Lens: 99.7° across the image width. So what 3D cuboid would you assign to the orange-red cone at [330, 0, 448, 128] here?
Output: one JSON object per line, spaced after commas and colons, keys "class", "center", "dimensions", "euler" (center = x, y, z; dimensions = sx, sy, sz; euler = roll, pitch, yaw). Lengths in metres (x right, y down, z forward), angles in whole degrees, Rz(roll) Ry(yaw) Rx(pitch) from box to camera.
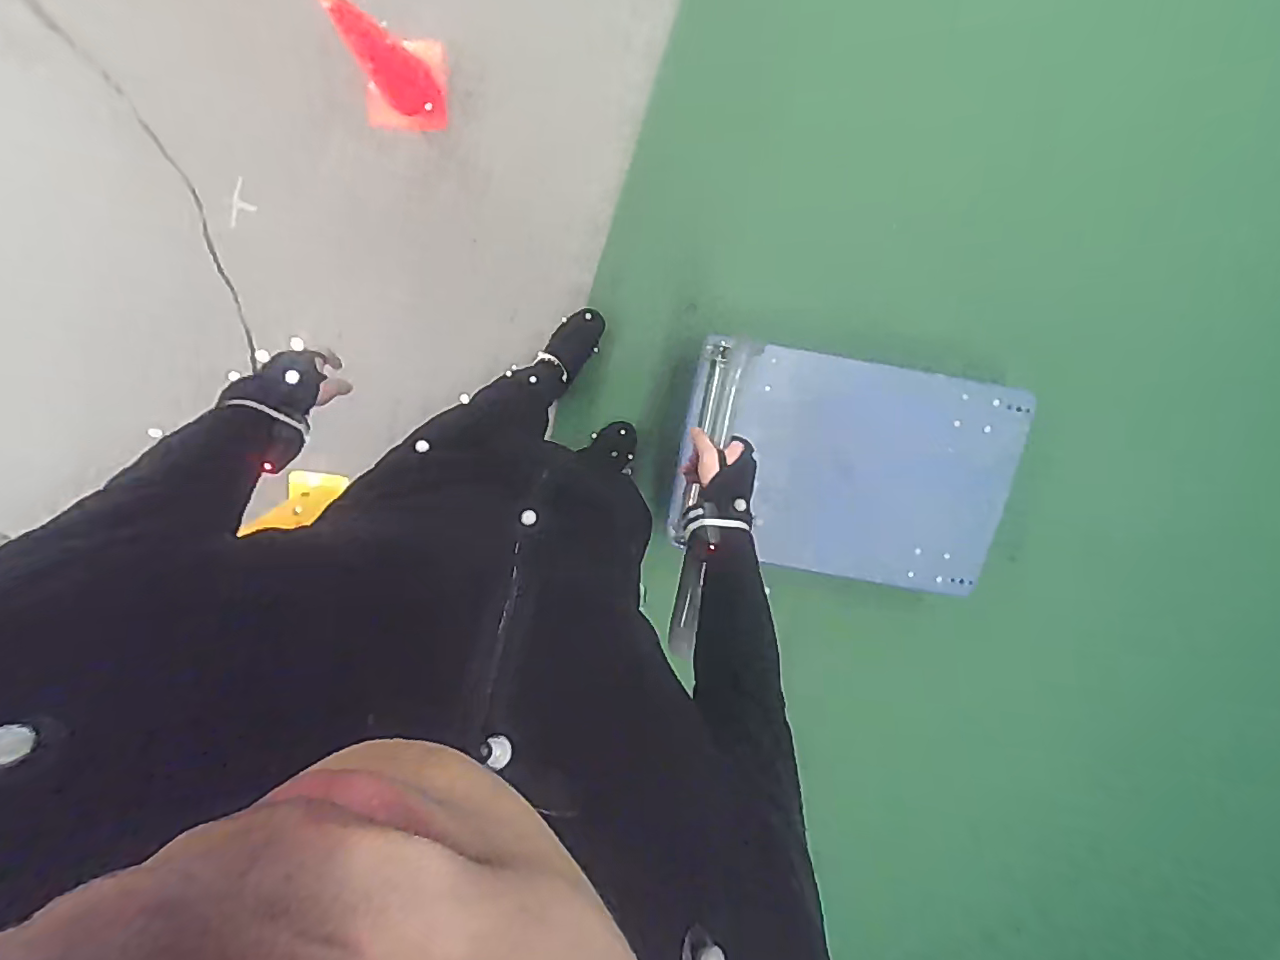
{"class": "orange-red cone", "center": [-0.595, -0.987, 1.221], "dimensions": [0.198, 0.360, 0.199], "euler": [4, 101, 0]}
